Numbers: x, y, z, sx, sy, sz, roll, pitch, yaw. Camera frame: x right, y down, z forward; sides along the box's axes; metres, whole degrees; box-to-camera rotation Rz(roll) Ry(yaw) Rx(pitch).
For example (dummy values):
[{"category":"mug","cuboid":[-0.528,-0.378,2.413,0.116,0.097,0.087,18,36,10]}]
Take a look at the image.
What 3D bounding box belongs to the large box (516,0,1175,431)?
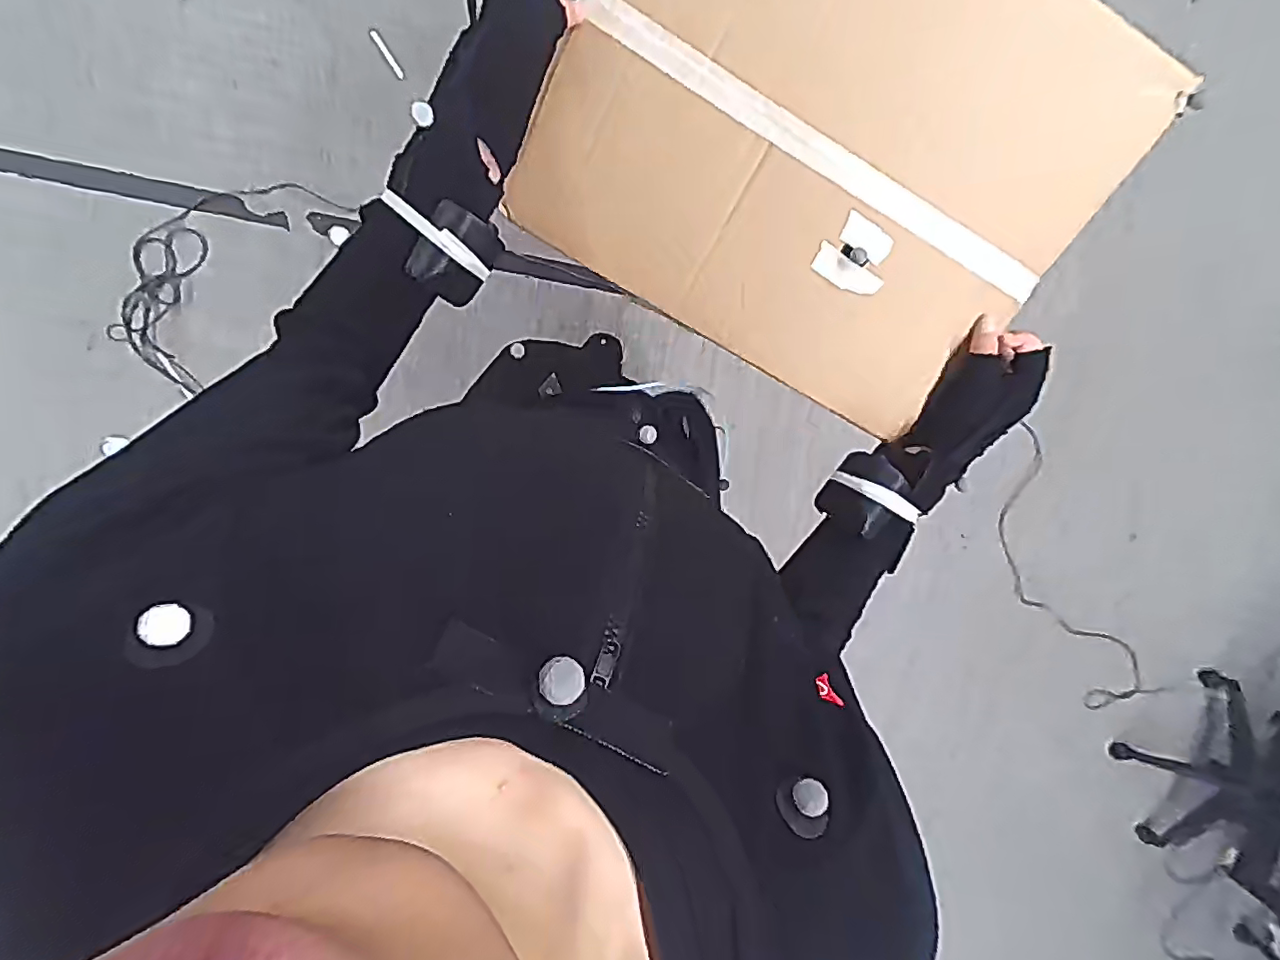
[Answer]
[{"category":"large box","cuboid":[0.147,-0.314,0.551,0.408,0.320,0.320,28,115,-9]}]
